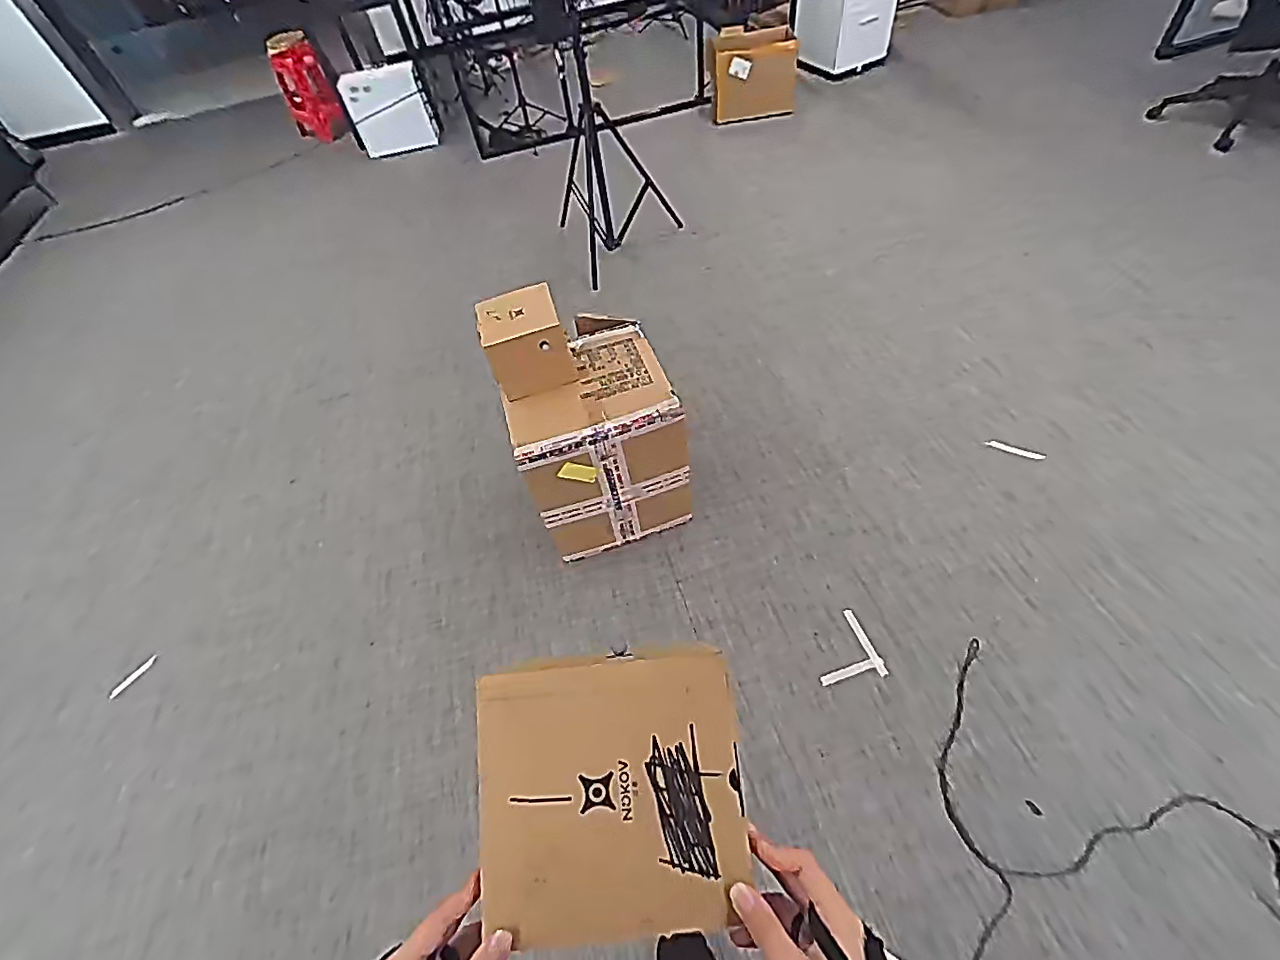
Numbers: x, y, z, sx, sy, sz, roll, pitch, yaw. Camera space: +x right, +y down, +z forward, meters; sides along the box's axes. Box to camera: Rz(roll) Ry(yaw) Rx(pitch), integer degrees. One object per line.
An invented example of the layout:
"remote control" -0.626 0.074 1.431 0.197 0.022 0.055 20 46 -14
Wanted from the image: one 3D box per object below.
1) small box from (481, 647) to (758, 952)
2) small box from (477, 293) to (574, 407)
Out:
"small box" -0.017 0.231 0.439 0.179 0.176 0.168 -6 74 0
"small box" -0.263 -0.300 1.268 0.179 0.176 0.168 -18 53 -2
